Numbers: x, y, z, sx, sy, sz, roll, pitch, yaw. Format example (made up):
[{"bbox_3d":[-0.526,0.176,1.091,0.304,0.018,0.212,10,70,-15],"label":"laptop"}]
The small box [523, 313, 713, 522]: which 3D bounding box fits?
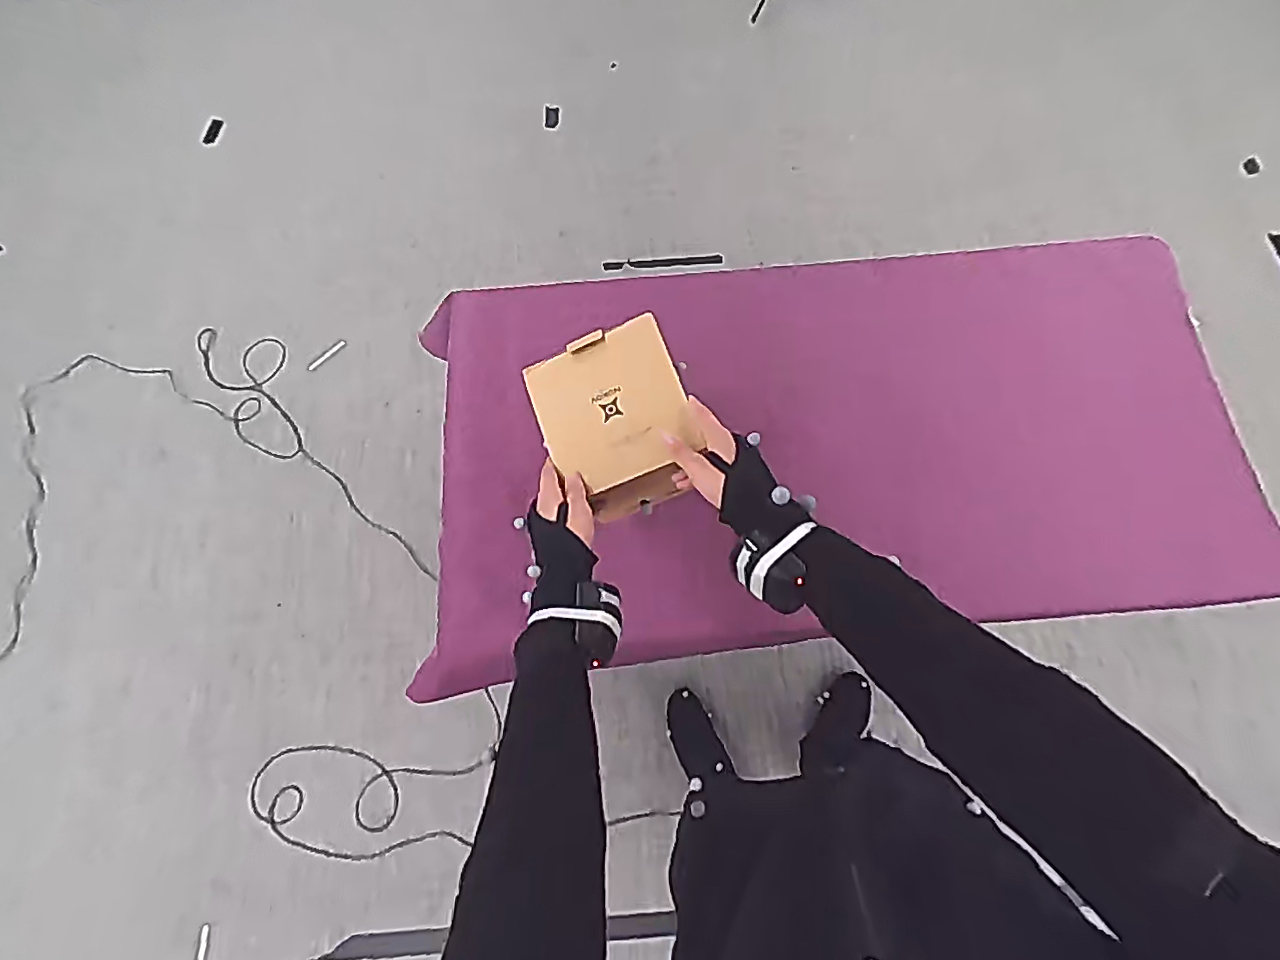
[{"bbox_3d":[-0.018,-0.063,0.663,0.168,0.176,0.179,-22,75,6],"label":"small box"}]
